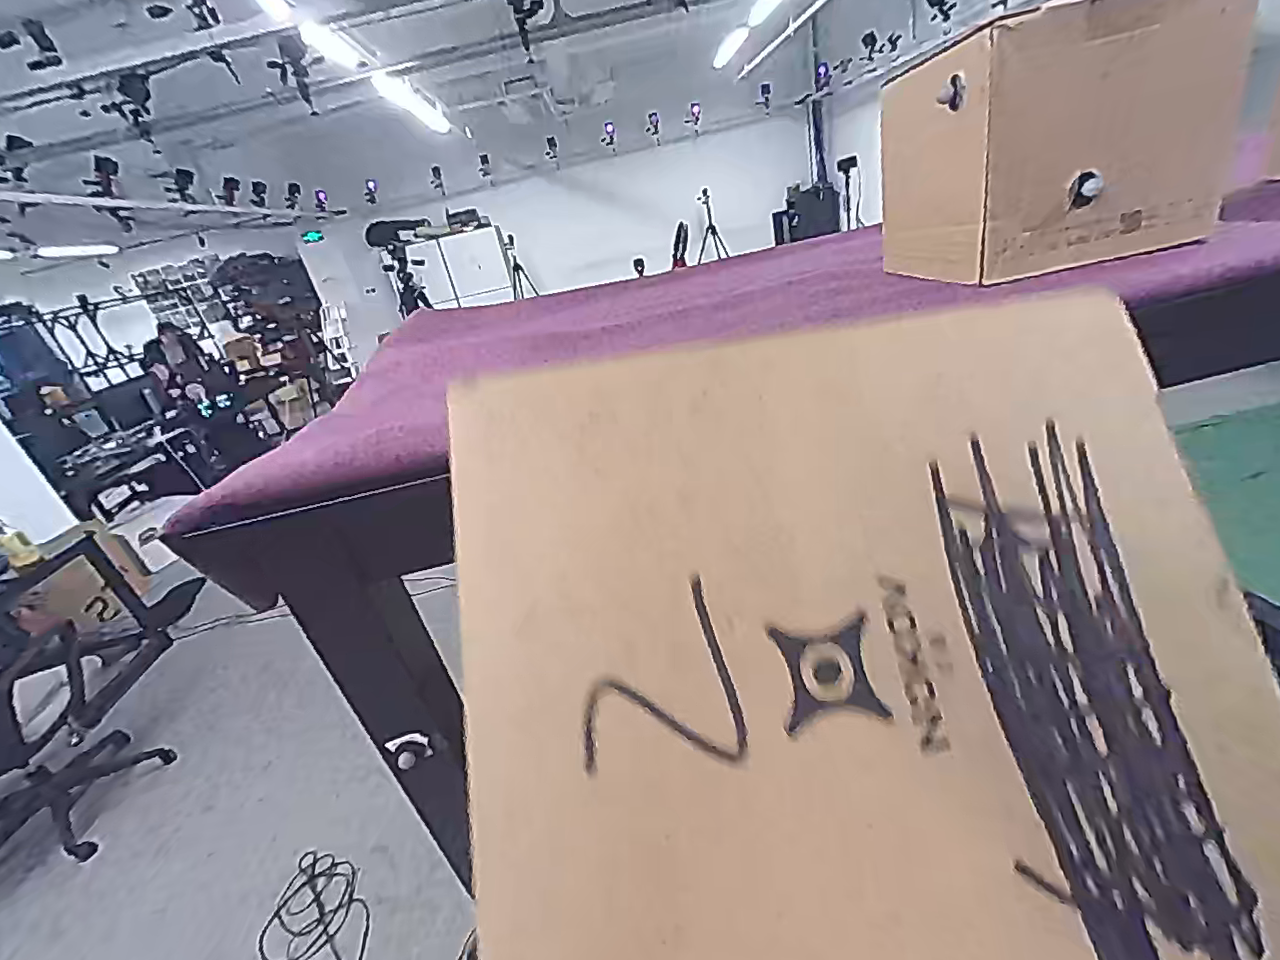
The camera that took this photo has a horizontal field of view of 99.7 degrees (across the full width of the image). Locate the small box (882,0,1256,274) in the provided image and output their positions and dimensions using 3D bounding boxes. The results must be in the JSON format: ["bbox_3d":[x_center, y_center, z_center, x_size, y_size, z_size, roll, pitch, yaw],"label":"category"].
[{"bbox_3d":[0.312,-0.273,0.439,0.168,0.176,0.179,-12,25,4],"label":"small box"}]
